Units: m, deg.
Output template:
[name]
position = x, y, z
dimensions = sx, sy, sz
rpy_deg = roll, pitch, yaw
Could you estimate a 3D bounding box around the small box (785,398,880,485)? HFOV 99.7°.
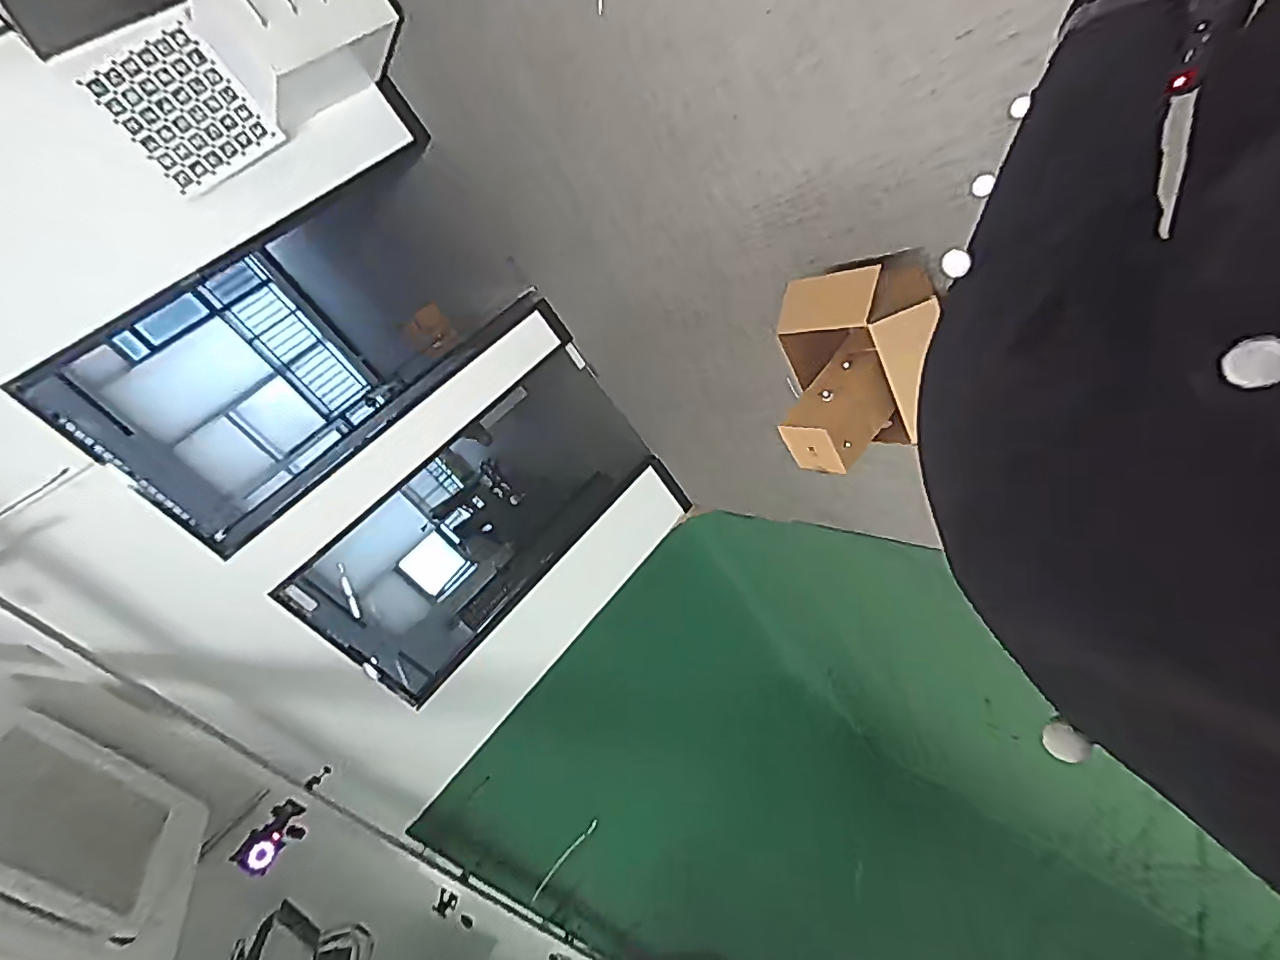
[small box]
position = 0.553, -0.112, 1.541
dimensions = 0.168, 0.176, 0.179
rpy_deg = 11, 144, 54
